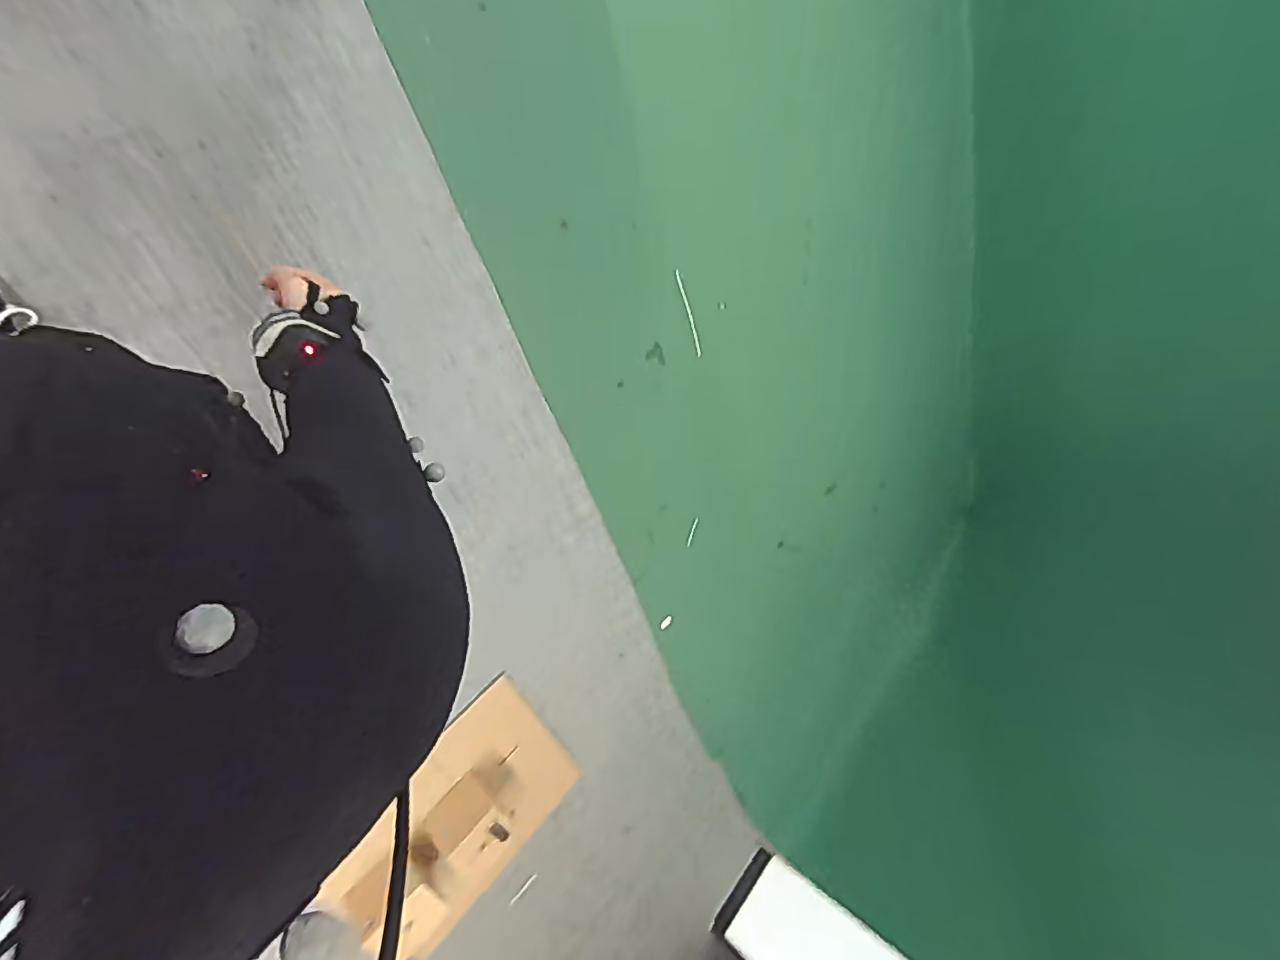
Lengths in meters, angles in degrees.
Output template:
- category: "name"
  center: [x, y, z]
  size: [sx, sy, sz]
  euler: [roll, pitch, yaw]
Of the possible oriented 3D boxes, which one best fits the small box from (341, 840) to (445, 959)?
- category: "small box"
  center: [-0.673, 1.132, 1.468]
  size: [0.179, 0.176, 0.168]
  euler: [-40, 125, -27]
